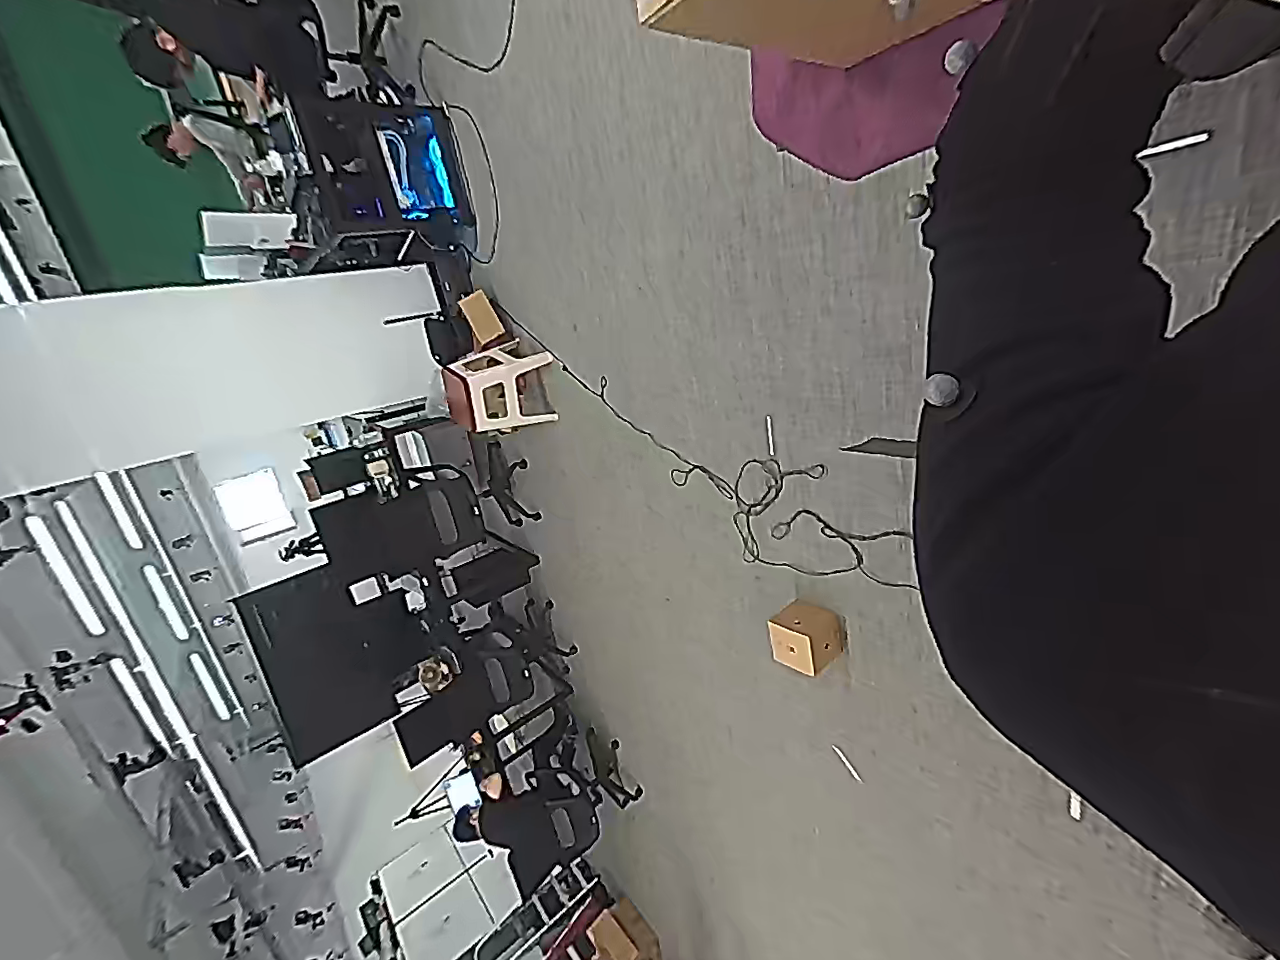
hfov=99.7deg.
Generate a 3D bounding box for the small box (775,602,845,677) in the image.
[{"bbox_3d":[0.605,0.553,1.907,0.179,0.176,0.168,11,118,53],"label":"small box"}]
